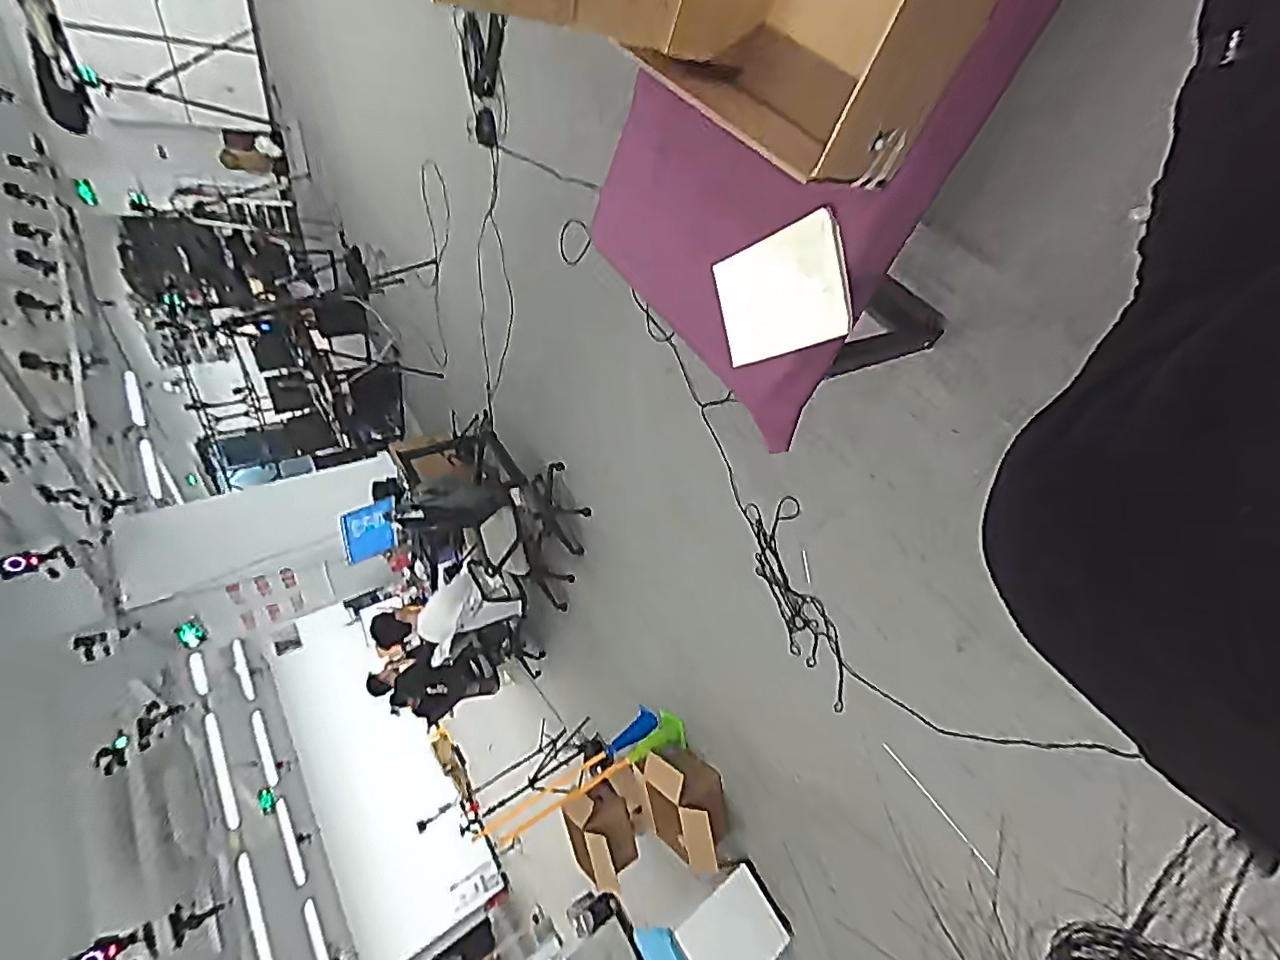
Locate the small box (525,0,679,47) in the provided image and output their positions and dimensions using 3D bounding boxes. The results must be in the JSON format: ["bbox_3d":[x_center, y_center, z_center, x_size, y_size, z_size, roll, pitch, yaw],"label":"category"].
[{"bbox_3d":[-0.046,-0.675,0.675,0.179,0.176,0.168,52,143,23],"label":"small box"}]
